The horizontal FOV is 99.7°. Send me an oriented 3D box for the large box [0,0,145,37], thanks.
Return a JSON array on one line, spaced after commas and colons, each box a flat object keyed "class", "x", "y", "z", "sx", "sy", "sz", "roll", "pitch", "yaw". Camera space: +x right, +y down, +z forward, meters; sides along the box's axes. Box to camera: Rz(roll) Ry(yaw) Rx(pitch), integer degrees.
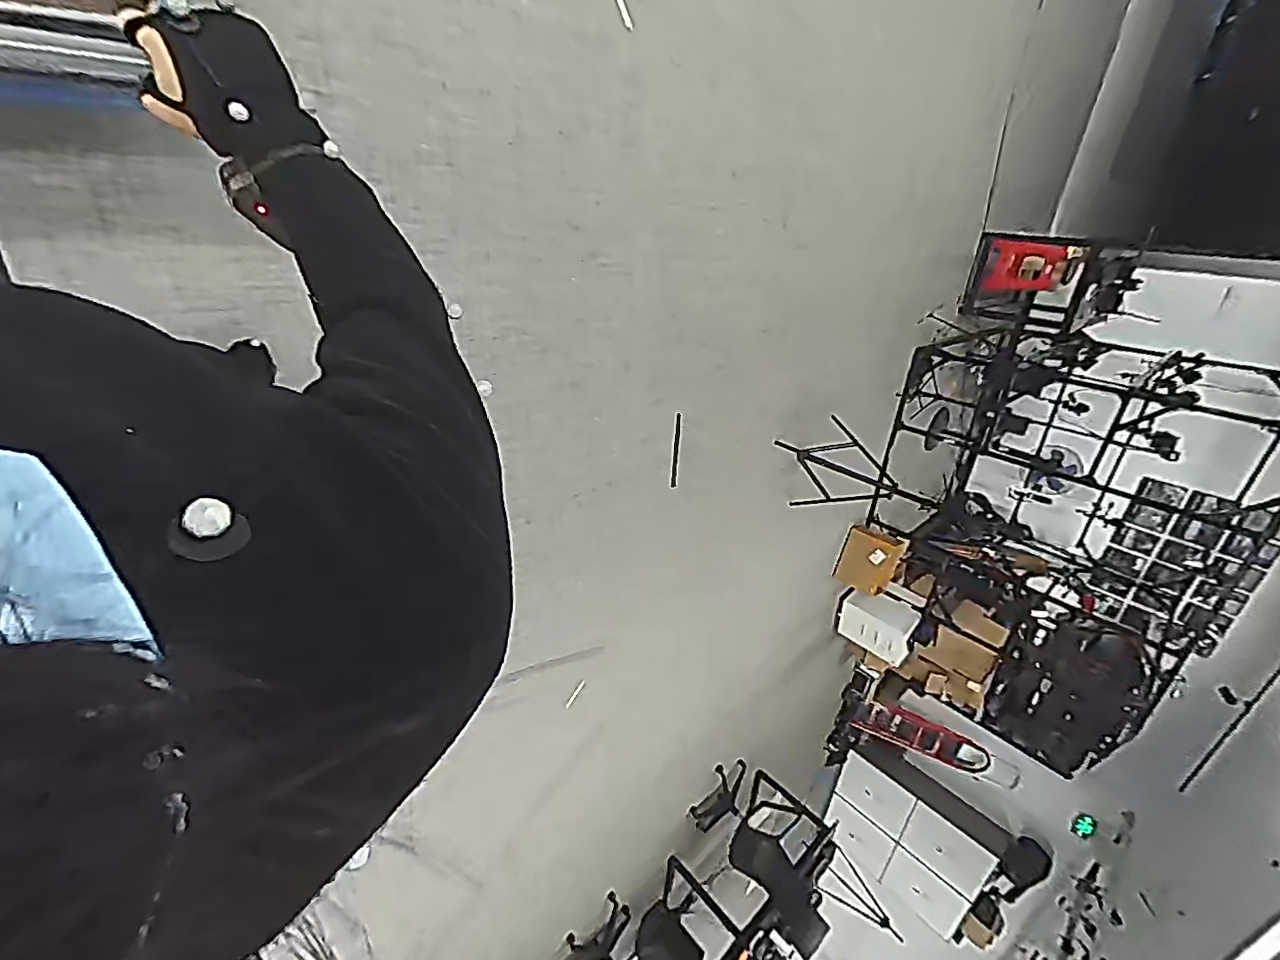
[{"class": "large box", "x": -0.823, "y": -0.691, "z": 0.539, "sx": 0.408, "sy": 0.320, "sz": 0.320, "roll": -23, "pitch": 128, "yaw": -39}]
